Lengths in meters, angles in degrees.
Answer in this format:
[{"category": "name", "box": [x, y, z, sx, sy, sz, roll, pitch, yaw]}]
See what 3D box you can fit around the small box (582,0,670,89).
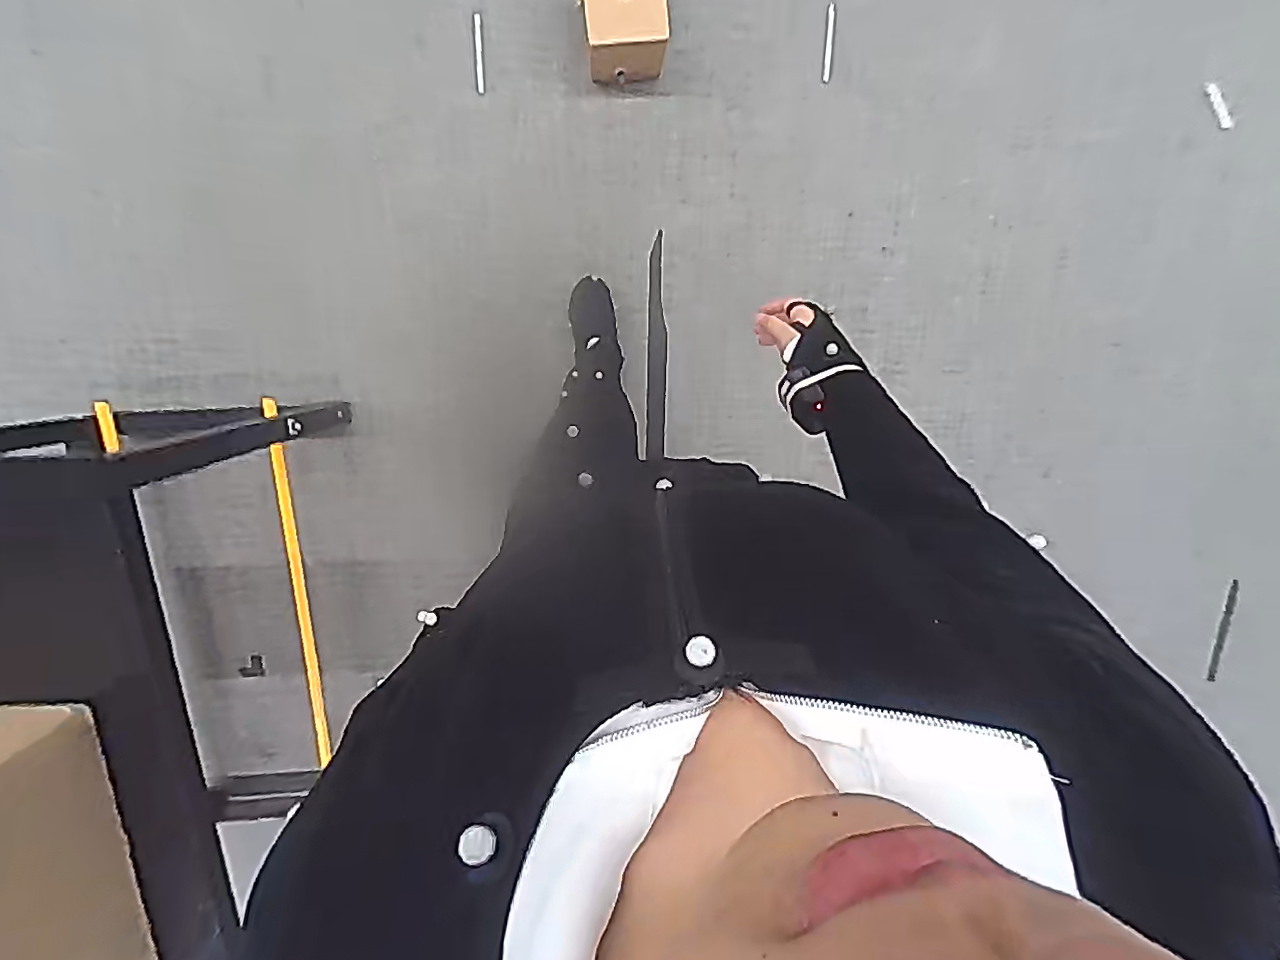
[{"category": "small box", "box": [-0.034, -0.971, 1.145, 0.168, 0.176, 0.179, -7, 105, -2]}]
